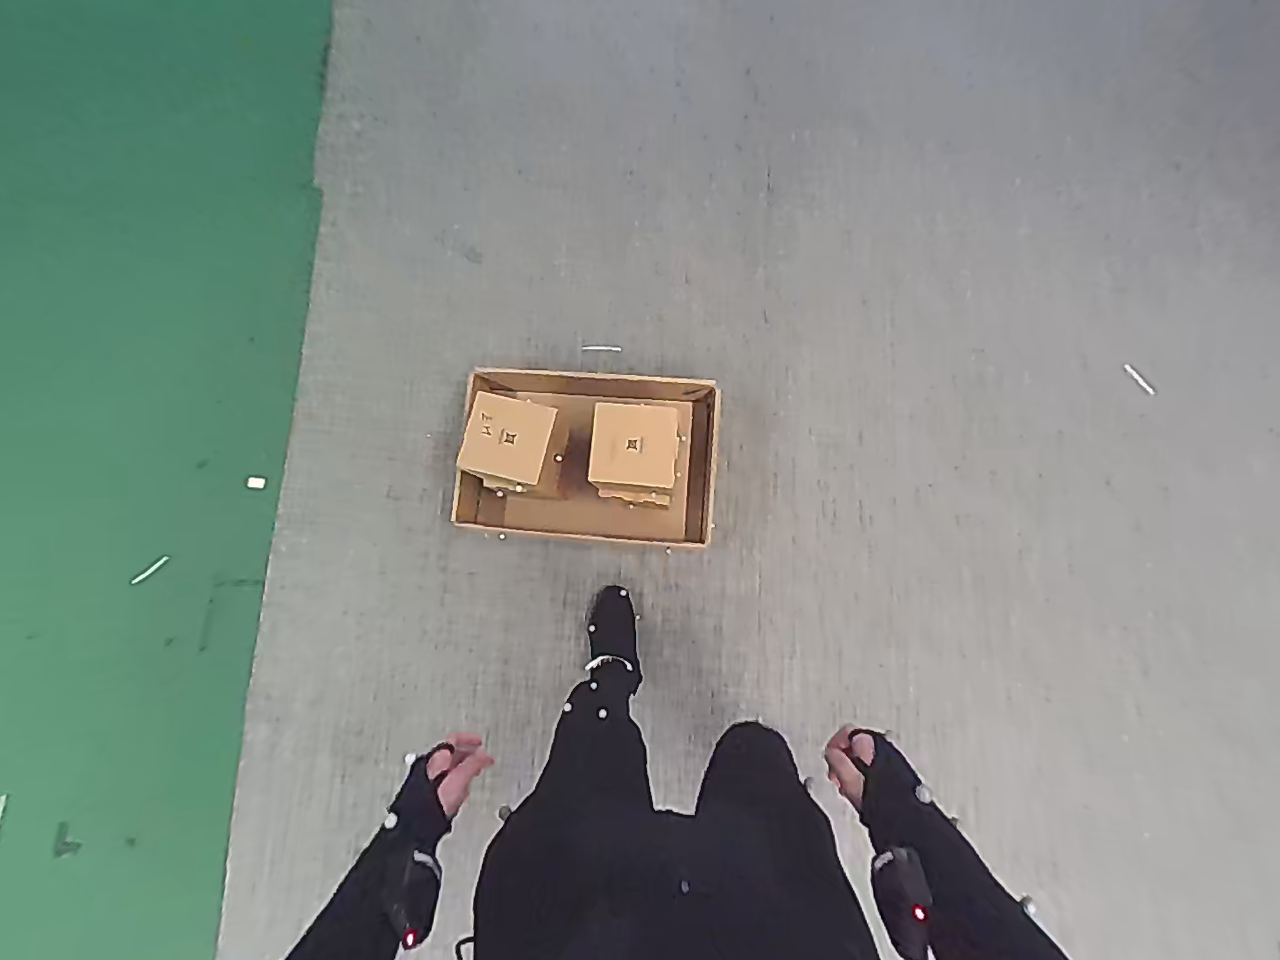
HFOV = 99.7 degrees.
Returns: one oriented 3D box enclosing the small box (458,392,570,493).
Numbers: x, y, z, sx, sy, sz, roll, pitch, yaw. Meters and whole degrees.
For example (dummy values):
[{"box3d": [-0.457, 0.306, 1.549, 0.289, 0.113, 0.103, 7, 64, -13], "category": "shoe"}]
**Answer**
[{"box3d": [-0.264, -0.073, 1.179, 0.179, 0.176, 0.168, 14, 82, 4], "category": "small box"}]
